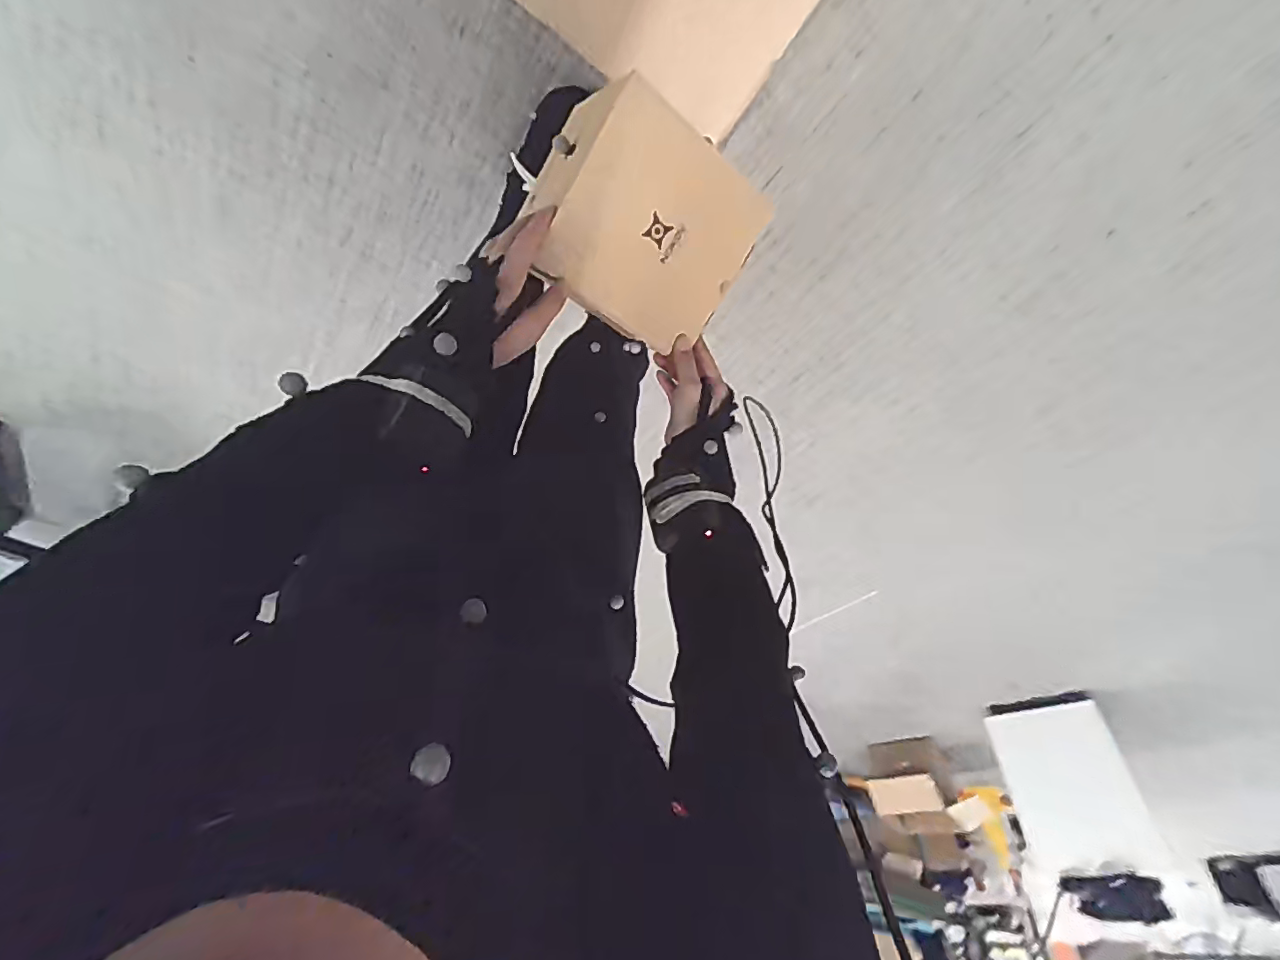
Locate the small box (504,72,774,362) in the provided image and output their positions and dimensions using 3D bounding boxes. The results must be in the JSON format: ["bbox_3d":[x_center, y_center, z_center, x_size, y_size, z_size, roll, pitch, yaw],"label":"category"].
[{"bbox_3d":[-0.013,-0.243,0.532,0.179,0.176,0.168,25,103,-32],"label":"small box"}]
